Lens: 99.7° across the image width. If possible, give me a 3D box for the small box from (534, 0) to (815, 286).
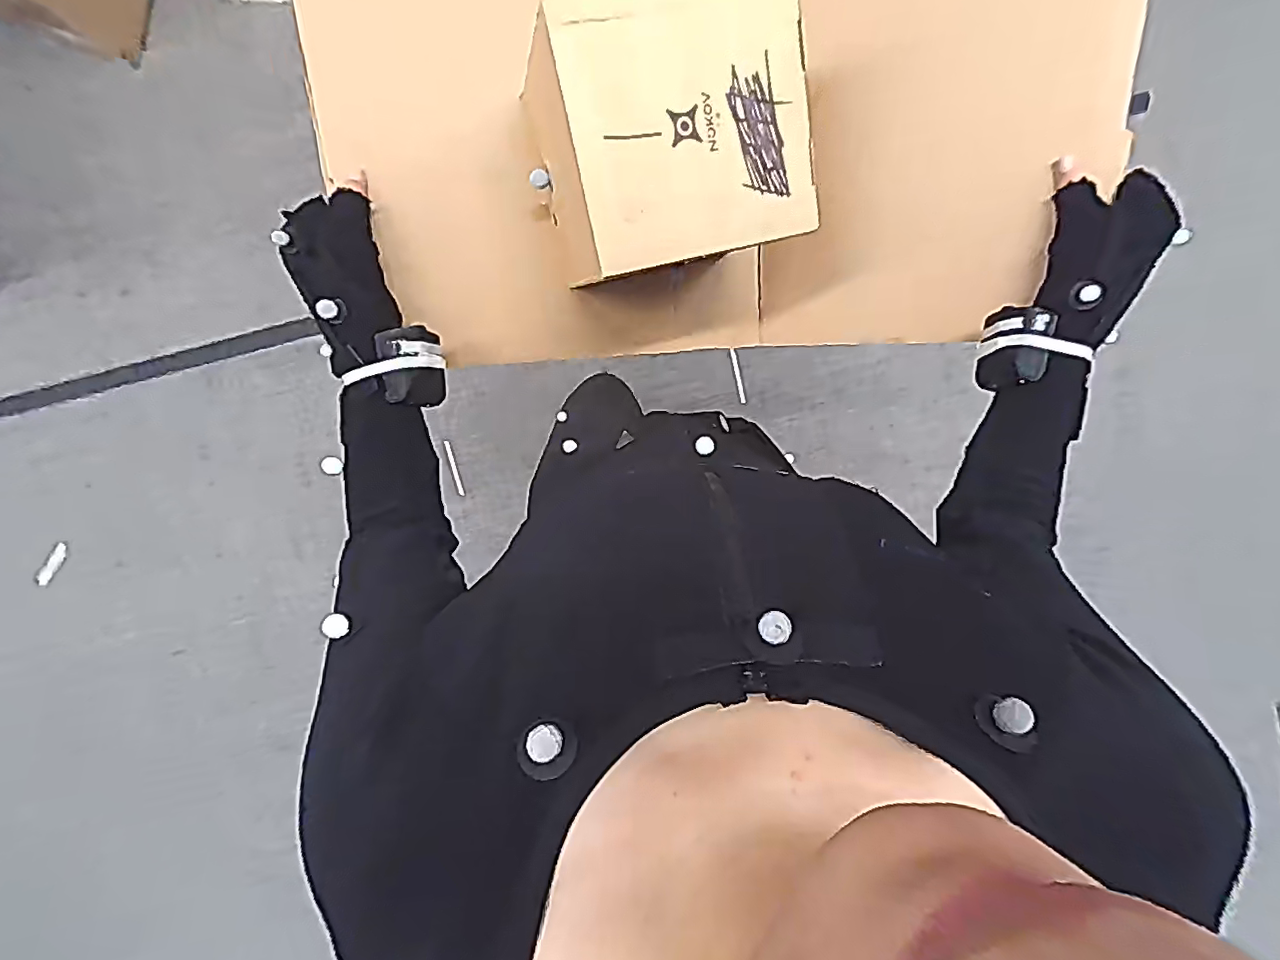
[{"bbox_3d":[0.020,-0.266,0.454,0.179,0.176,0.168,-16,110,-10],"label":"small box"}]
